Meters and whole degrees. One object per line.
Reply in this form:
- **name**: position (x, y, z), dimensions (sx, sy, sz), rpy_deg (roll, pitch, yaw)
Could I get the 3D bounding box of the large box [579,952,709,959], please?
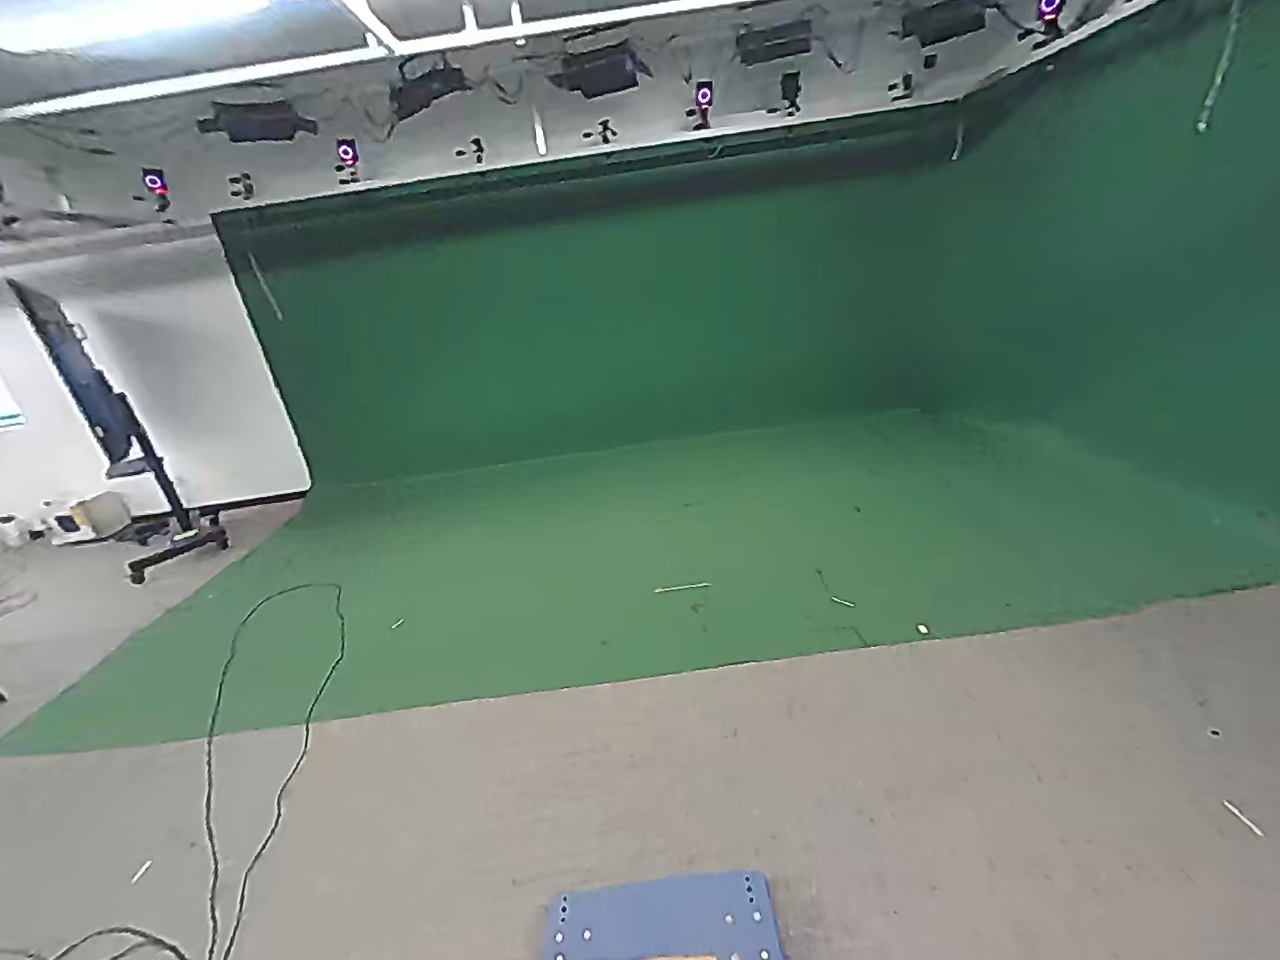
- **large box**: position (-0.005, 1.118, 0.897), dimensions (0.320, 0.320, 0.408), rpy_deg (-6, 21, 4)
